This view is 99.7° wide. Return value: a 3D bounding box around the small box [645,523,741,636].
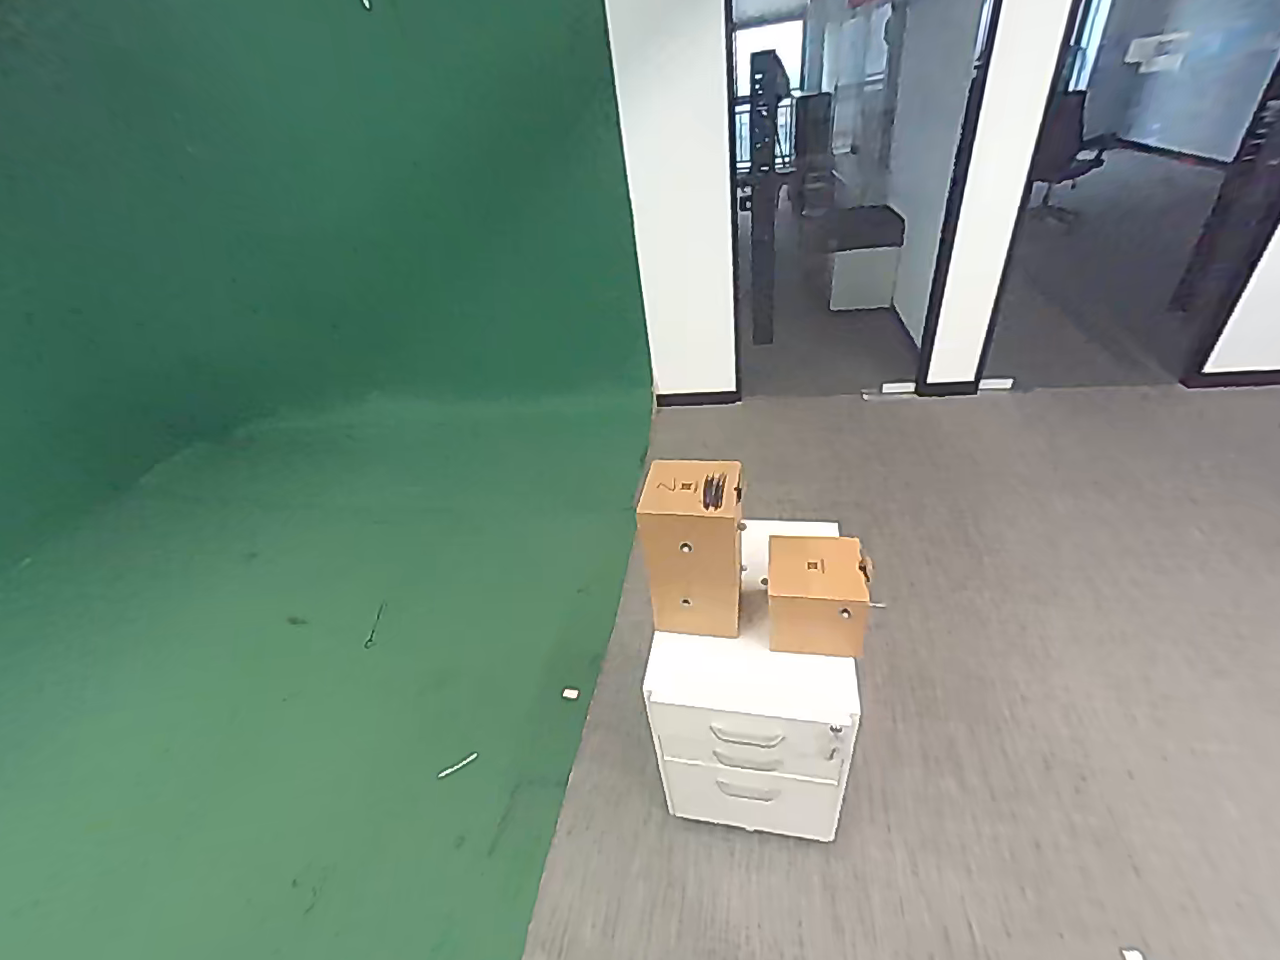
[{"bbox_3d":[0.119,0.208,1.136,0.179,0.176,0.168,1,38,13],"label":"small box"}]
